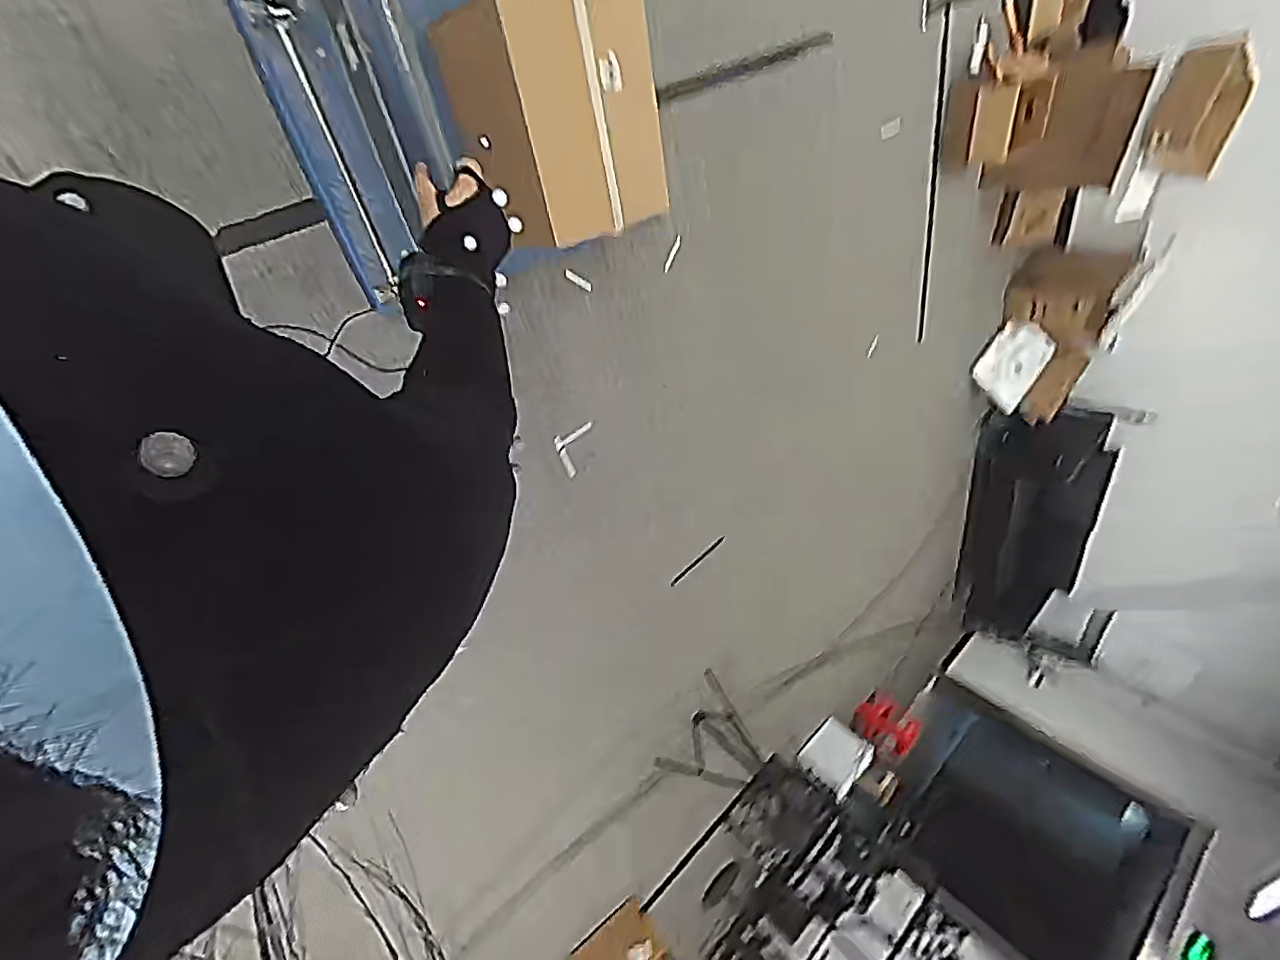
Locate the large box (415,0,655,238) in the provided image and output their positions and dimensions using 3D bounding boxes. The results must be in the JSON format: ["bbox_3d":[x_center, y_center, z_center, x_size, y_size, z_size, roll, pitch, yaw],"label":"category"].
[{"bbox_3d":[-0.211,-0.772,1.152,0.320,0.320,0.408,-33,129,-27],"label":"large box"}]
